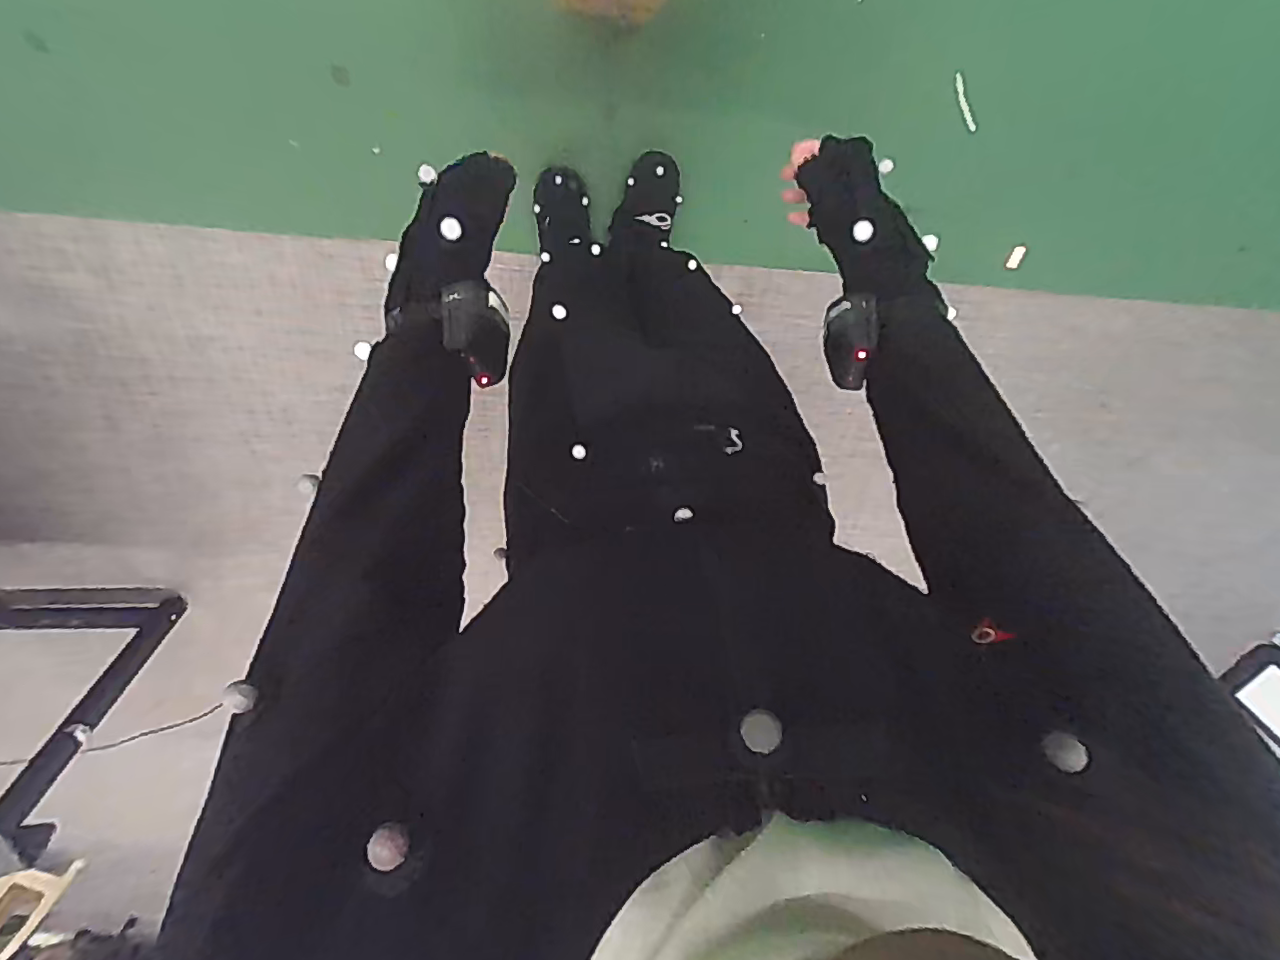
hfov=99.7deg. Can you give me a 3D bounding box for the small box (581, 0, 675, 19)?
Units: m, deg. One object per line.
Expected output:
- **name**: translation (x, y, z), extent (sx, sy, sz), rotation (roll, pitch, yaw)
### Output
- **small box**: translation (-0.022, -0.744, 0.719), extent (0.168, 0.176, 0.179), rotation (5, 126, -10)
